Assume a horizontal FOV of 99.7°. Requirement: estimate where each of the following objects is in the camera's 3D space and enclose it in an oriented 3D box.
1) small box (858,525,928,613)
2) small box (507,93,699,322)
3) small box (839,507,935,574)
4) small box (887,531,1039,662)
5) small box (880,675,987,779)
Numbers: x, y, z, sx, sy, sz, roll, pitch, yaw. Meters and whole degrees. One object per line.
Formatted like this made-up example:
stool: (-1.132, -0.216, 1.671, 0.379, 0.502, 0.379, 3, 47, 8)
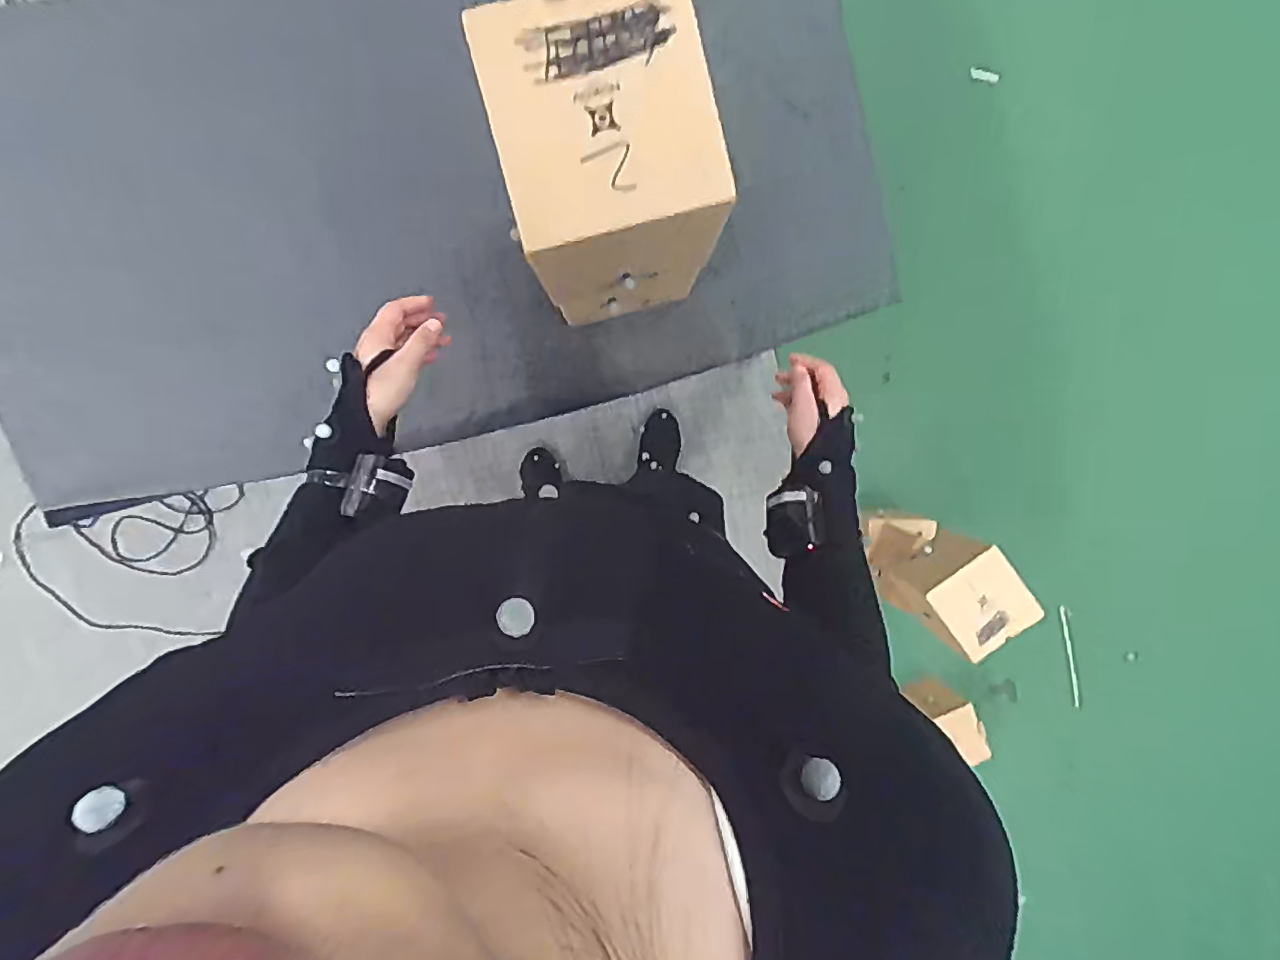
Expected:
small box: (0.652, 0.218, 1.279, 0.179, 0.176, 0.168, 22, 97, -4)
small box: (-0.036, -0.294, 0.631, 0.168, 0.176, 0.179, -15, 95, 0)
small box: (0.646, 0.167, 1.436, 0.179, 0.176, 0.168, 2, 98, -2)
small box: (0.653, 0.230, 1.115, 0.168, 0.176, 0.179, -37, 95, 4)
small box: (0.806, 0.675, 1.500, 0.179, 0.176, 0.168, -24, 97, 1)
